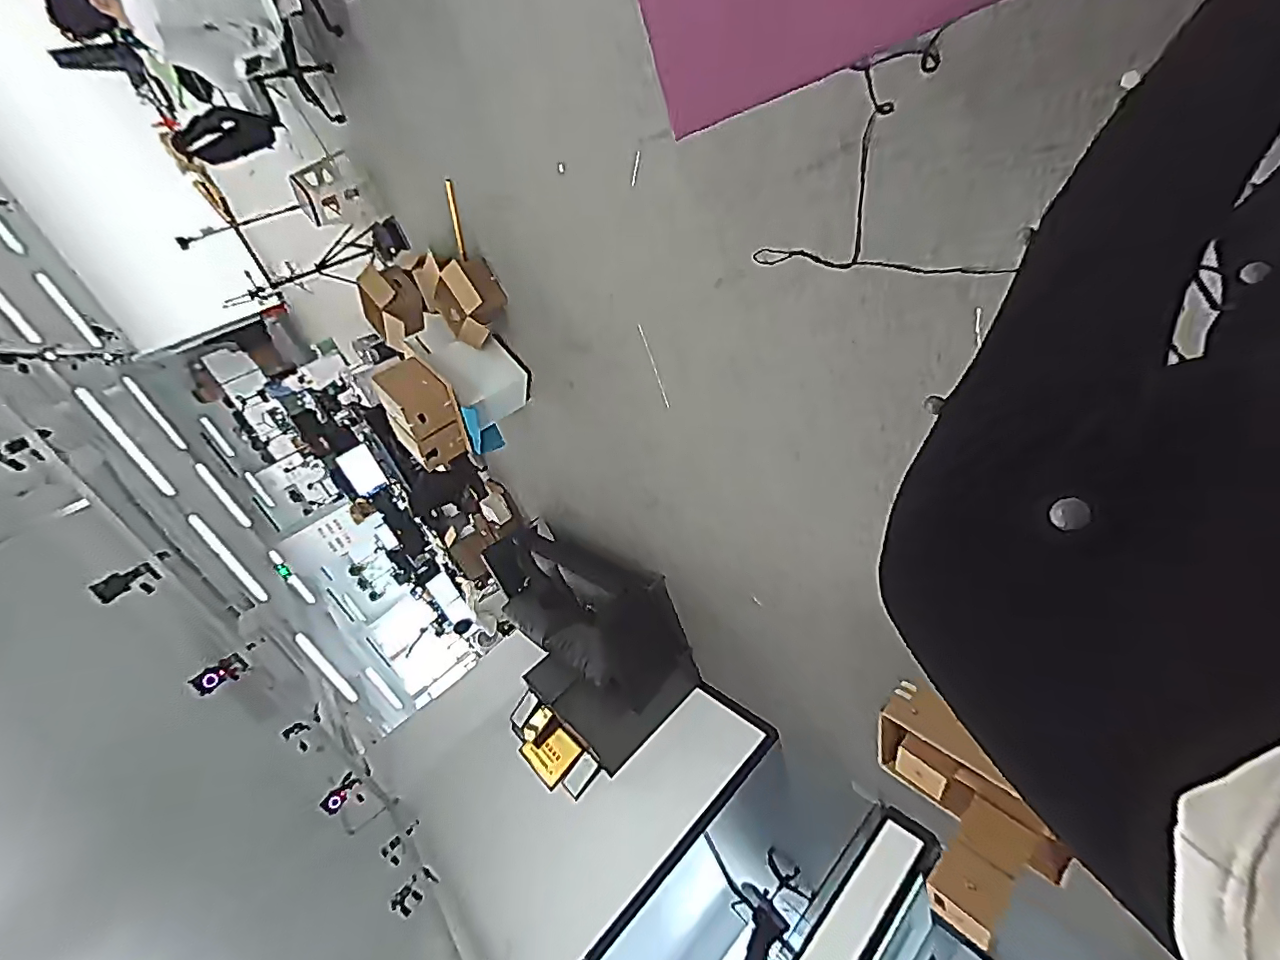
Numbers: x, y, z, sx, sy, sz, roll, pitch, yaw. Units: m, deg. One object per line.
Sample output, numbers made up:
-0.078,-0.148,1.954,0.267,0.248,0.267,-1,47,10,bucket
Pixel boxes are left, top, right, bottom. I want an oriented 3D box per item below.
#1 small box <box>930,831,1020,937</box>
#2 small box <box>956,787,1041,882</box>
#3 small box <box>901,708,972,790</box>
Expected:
1.007,1.207,1.634,0.179,0.176,0.168,24,141,46,small box
1.128,1.122,1.708,0.179,0.176,0.168,27,143,45,small box
1.083,0.975,1.974,0.168,0.176,0.179,29,145,42,small box
